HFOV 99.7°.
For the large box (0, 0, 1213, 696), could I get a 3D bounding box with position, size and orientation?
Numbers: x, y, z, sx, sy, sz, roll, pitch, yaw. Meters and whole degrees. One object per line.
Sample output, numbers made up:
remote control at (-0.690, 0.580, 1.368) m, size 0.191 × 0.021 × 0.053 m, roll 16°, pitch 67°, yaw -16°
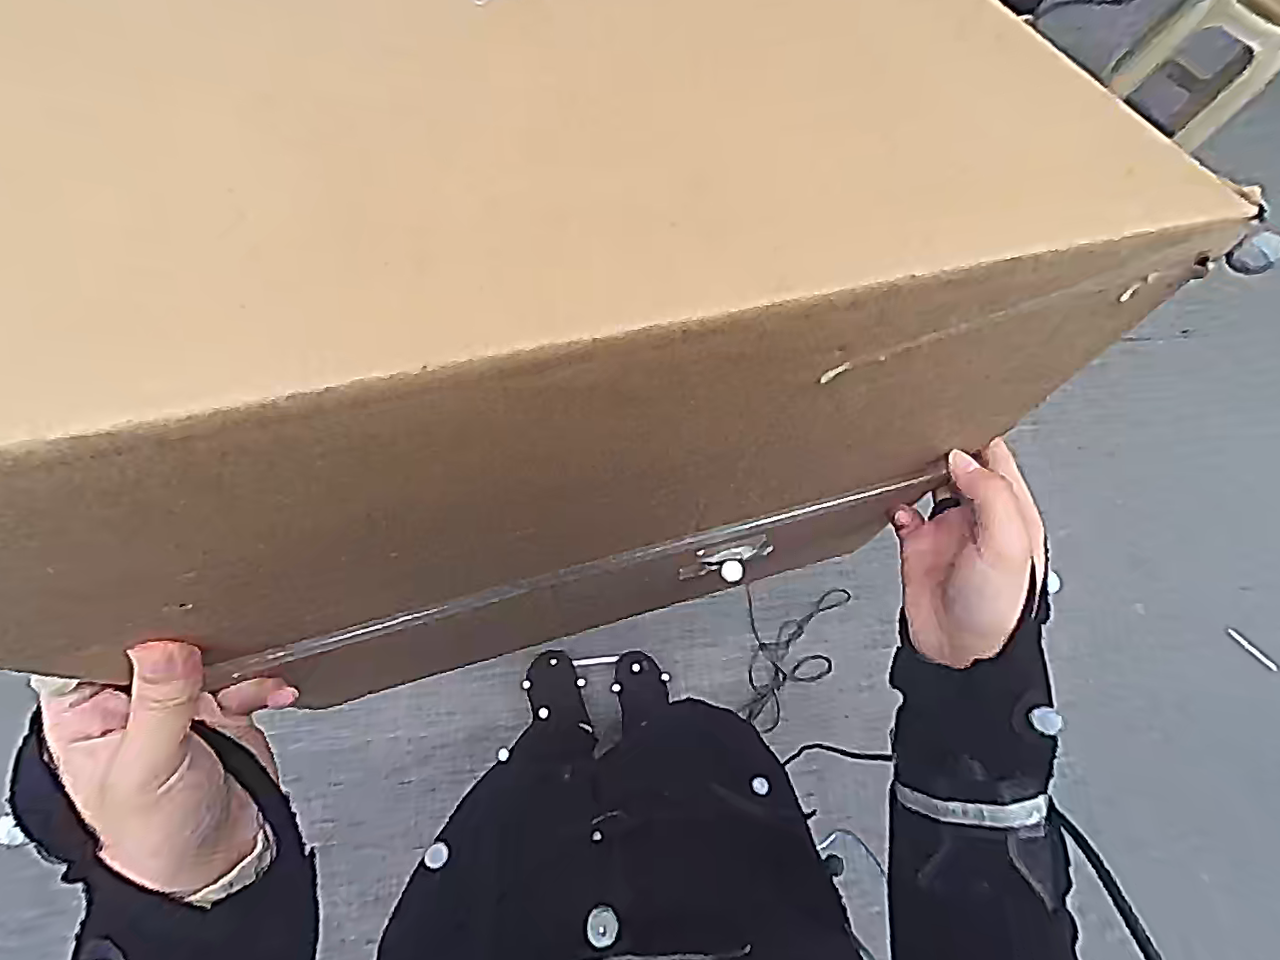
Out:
large box at (-0.066, -0.105, 0.324) m, size 0.408 × 0.320 × 0.320 m, roll -15°, pitch 66°, yaw -11°
